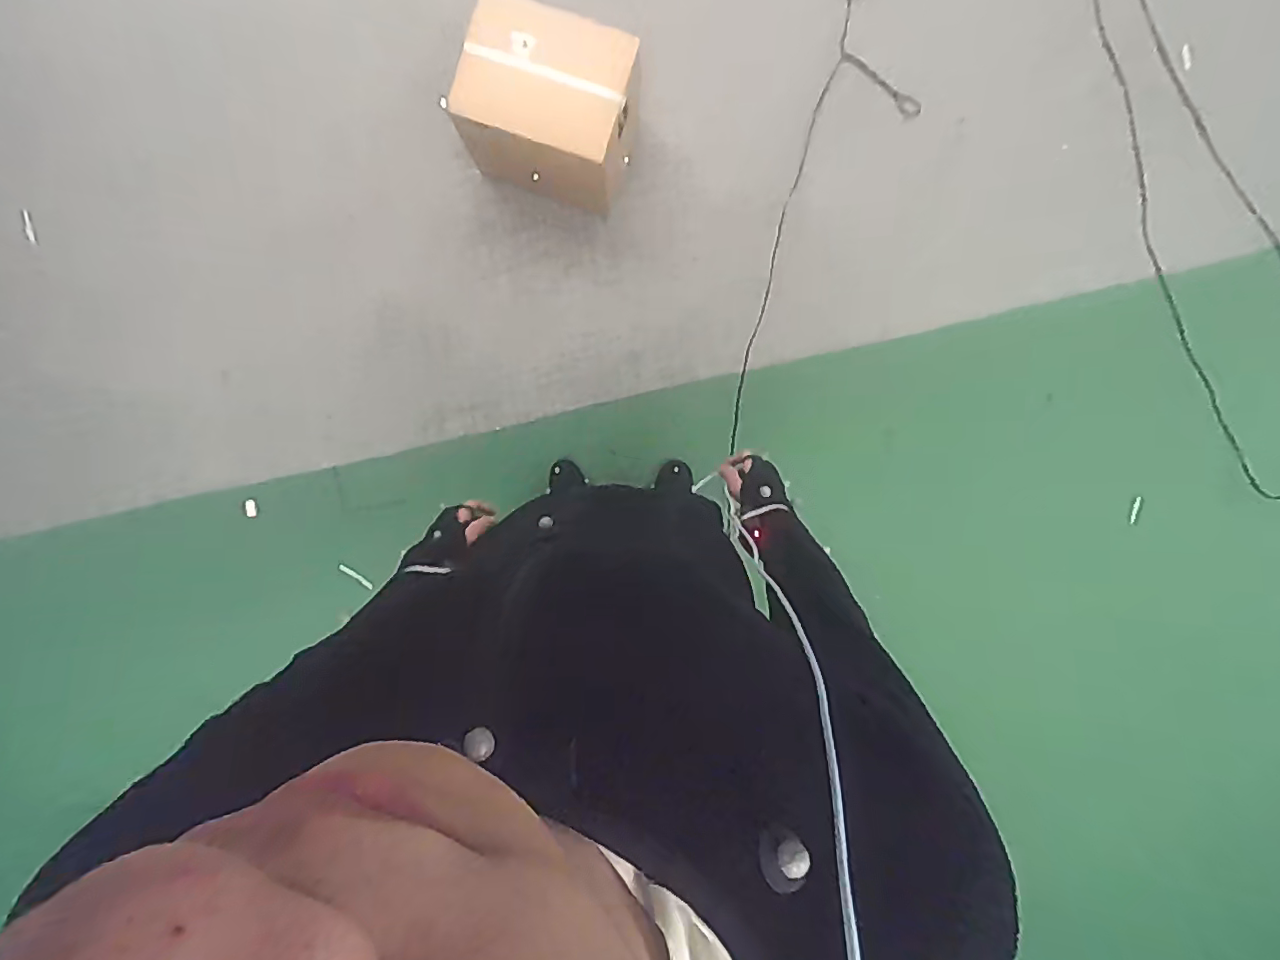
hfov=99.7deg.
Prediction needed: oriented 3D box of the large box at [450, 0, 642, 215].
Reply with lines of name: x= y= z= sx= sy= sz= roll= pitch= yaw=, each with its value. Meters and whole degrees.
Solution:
large box: x=-0.226 y=-0.978 z=1.457 sx=0.408 sy=0.320 sz=0.320 roll=18 pitch=92 yaw=0
